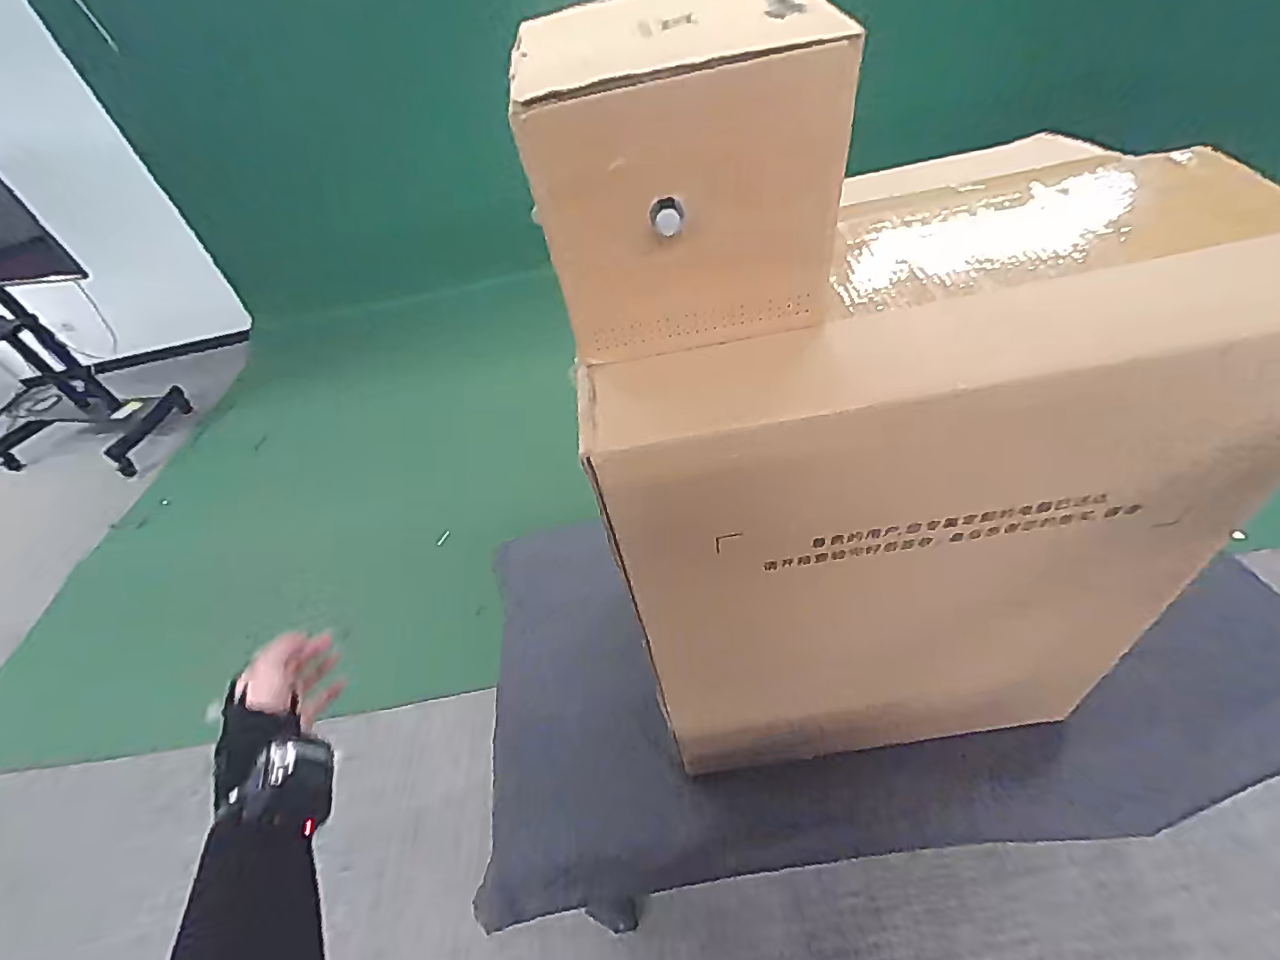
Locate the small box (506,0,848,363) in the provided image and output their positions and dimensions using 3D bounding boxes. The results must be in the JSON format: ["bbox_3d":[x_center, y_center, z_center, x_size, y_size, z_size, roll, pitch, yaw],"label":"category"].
[{"bbox_3d":[0.024,-0.203,0.376,0.179,0.176,0.168,-10,52,4],"label":"small box"}]
